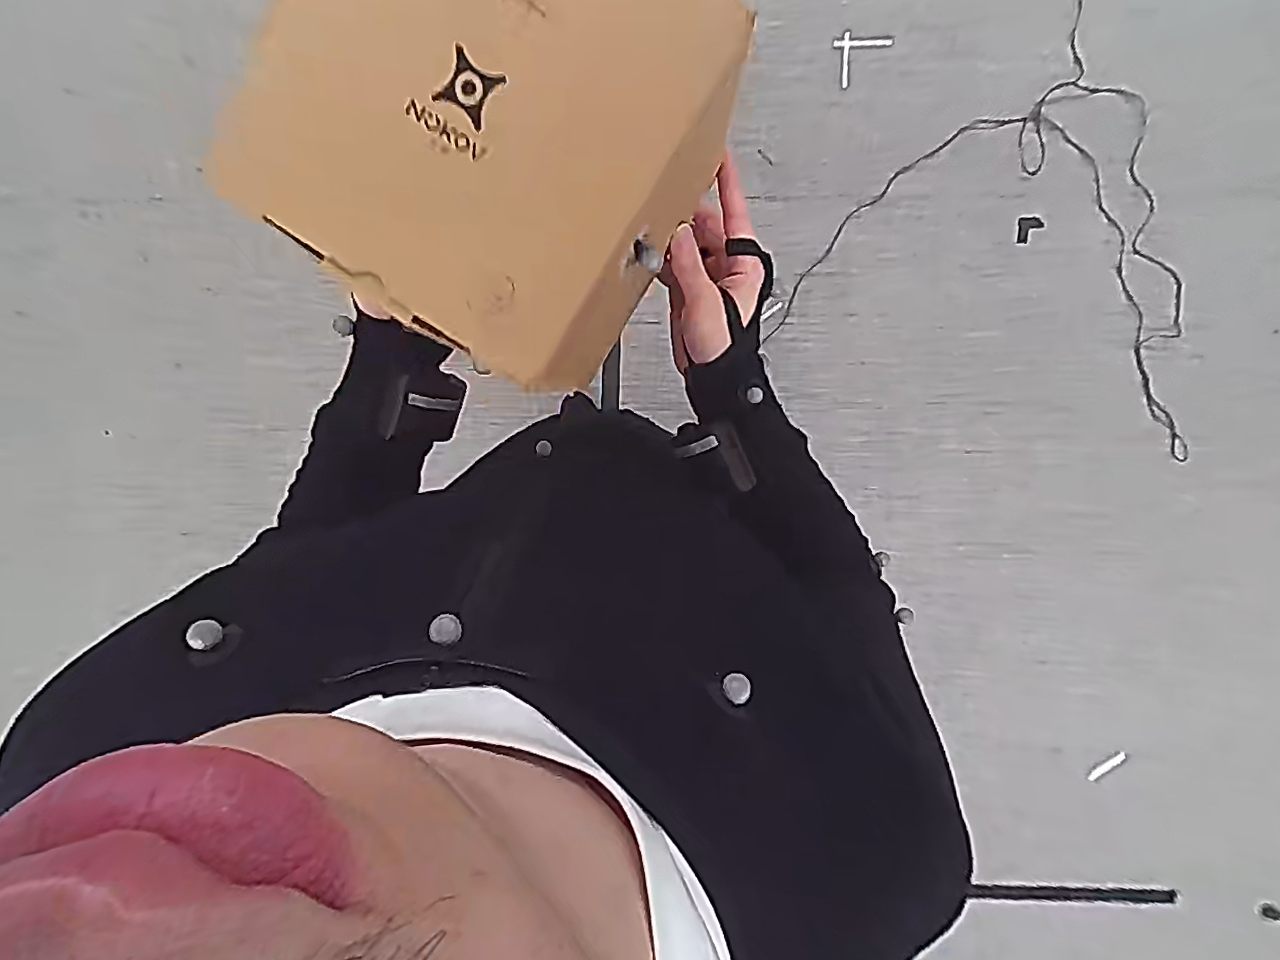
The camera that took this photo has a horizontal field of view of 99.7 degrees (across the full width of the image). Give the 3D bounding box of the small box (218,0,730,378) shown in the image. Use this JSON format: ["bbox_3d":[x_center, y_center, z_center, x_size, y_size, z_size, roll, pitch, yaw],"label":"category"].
[{"bbox_3d":[-0.070,-0.172,0.308,0.168,0.176,0.179,33,98,-3],"label":"small box"}]
